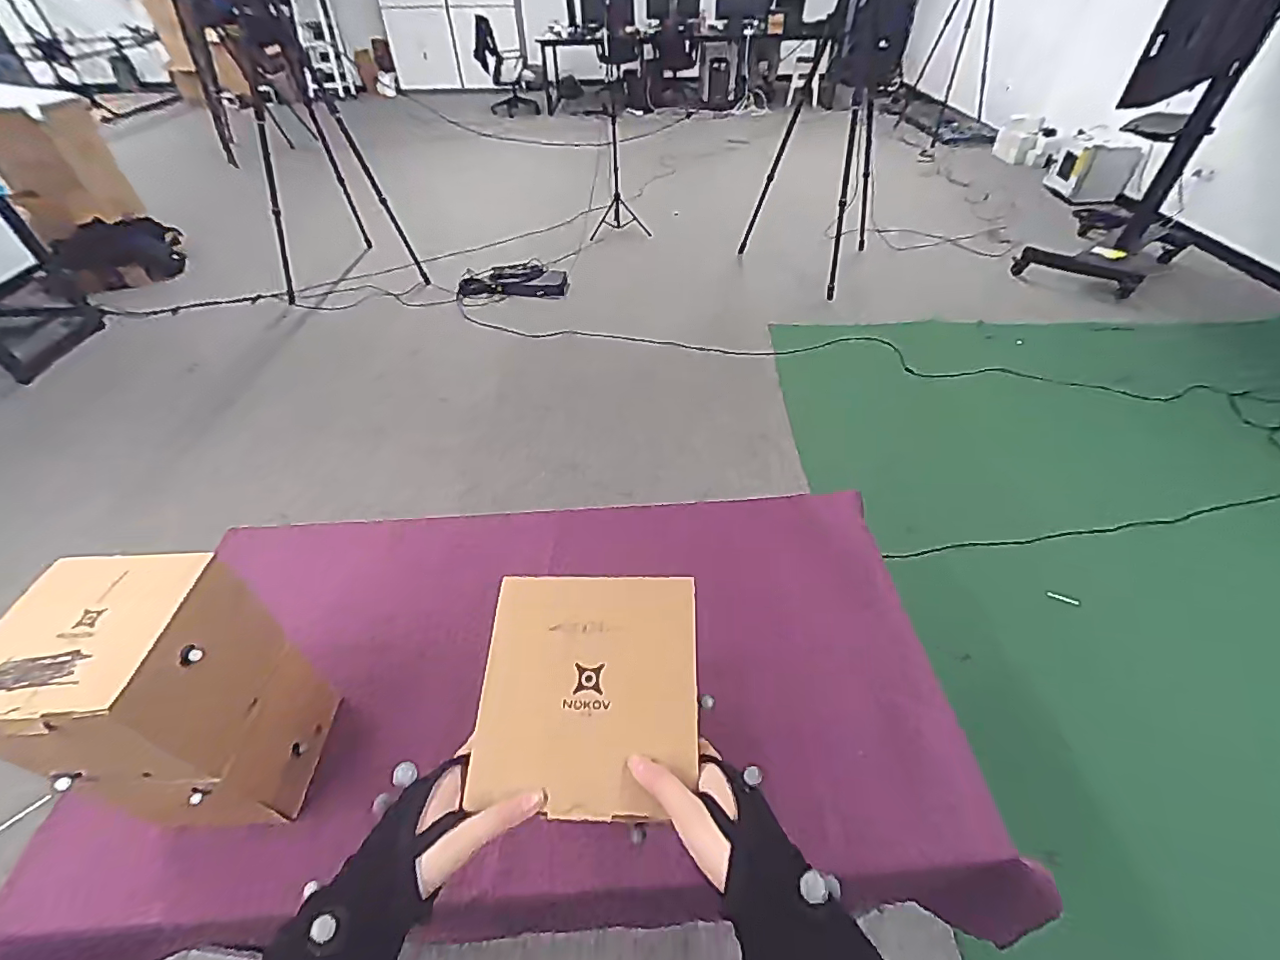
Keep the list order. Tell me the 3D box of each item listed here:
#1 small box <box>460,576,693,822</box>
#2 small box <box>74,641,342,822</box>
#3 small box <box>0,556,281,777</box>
[{"bbox_3d":[-0.037,0.199,0.484,0.168,0.176,0.179,0,57,5],"label":"small box"},{"bbox_3d":[-0.528,0.325,0.696,0.179,0.176,0.168,-2,44,0],"label":"small box"},{"bbox_3d":[-0.534,0.205,0.584,0.168,0.176,0.179,-2,43,-1],"label":"small box"}]
